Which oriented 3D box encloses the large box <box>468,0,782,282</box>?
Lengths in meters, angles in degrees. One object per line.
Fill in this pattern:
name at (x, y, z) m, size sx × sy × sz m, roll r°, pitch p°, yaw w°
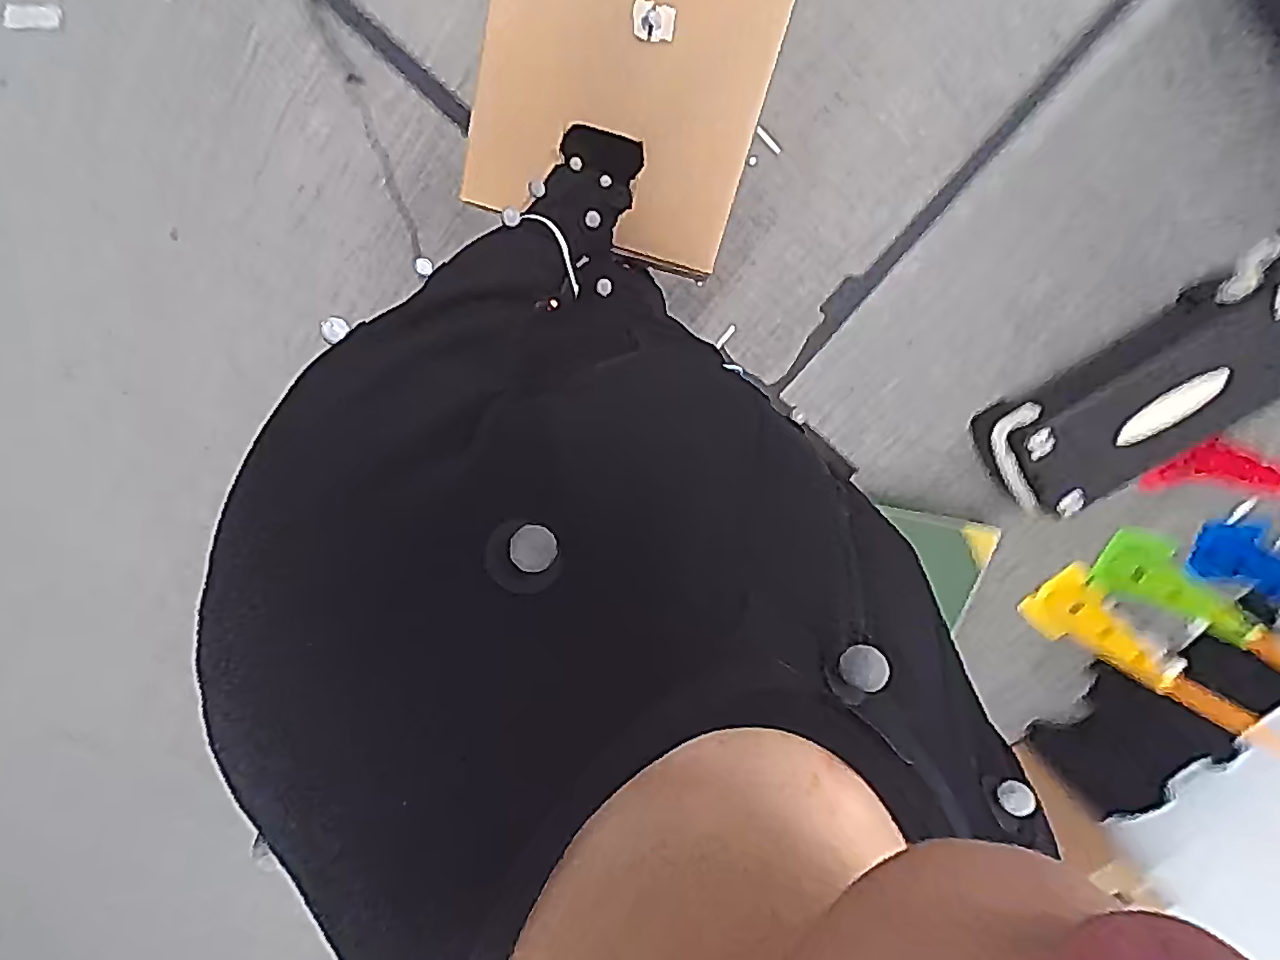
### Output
large box at (-0.009, -0.478, 0.778) m, size 0.320 × 0.408 × 0.320 m, roll 15°, pitch 111°, yaw 0°
